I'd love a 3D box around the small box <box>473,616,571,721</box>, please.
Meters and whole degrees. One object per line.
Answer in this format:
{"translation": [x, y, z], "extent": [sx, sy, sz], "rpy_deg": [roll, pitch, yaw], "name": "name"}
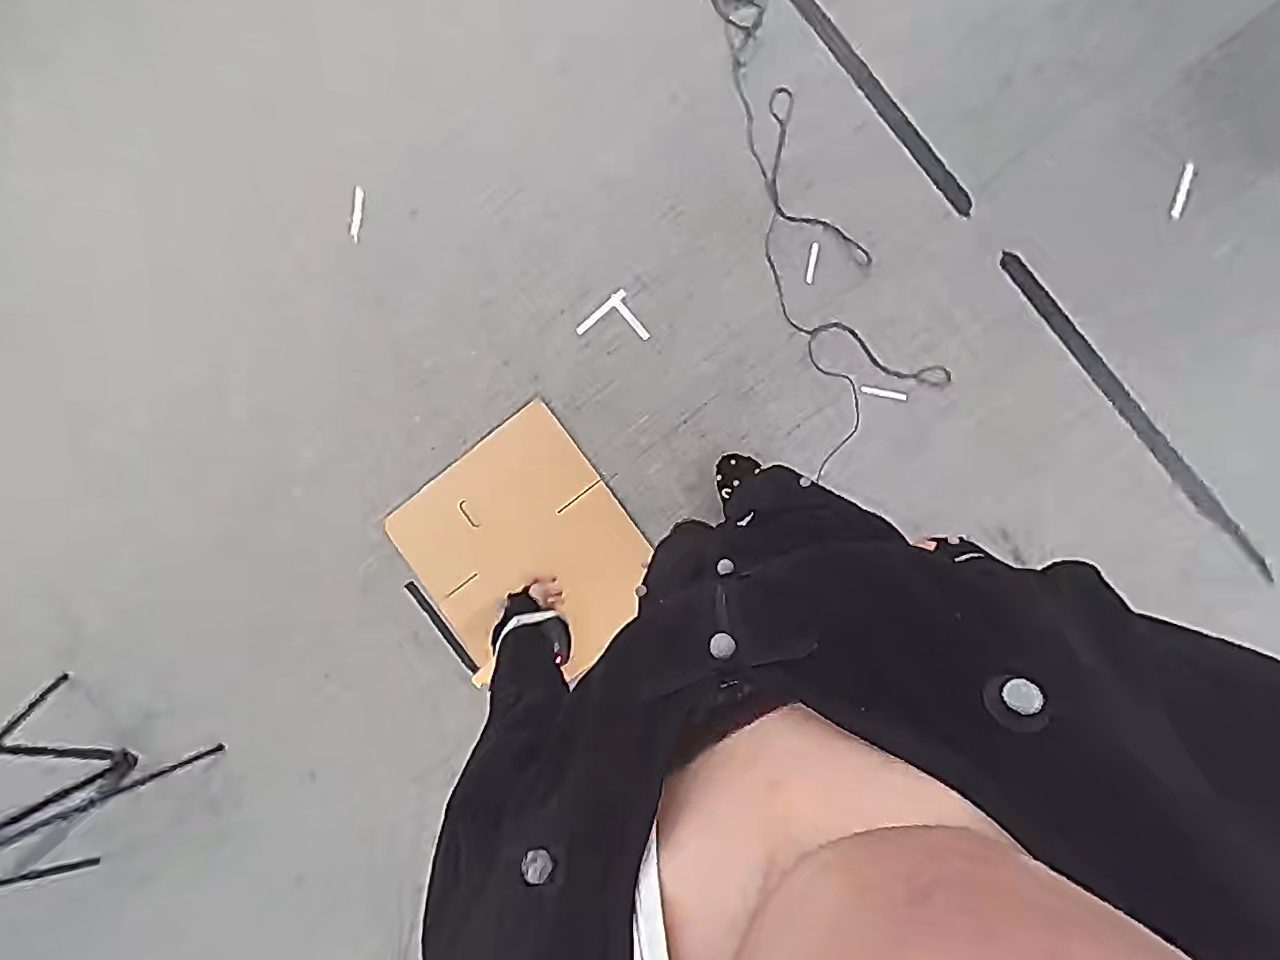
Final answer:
{"translation": [-0.309, 0.500, 1.461], "extent": [0.168, 0.176, 0.179], "rpy_deg": [43, 95, 2], "name": "small box"}
